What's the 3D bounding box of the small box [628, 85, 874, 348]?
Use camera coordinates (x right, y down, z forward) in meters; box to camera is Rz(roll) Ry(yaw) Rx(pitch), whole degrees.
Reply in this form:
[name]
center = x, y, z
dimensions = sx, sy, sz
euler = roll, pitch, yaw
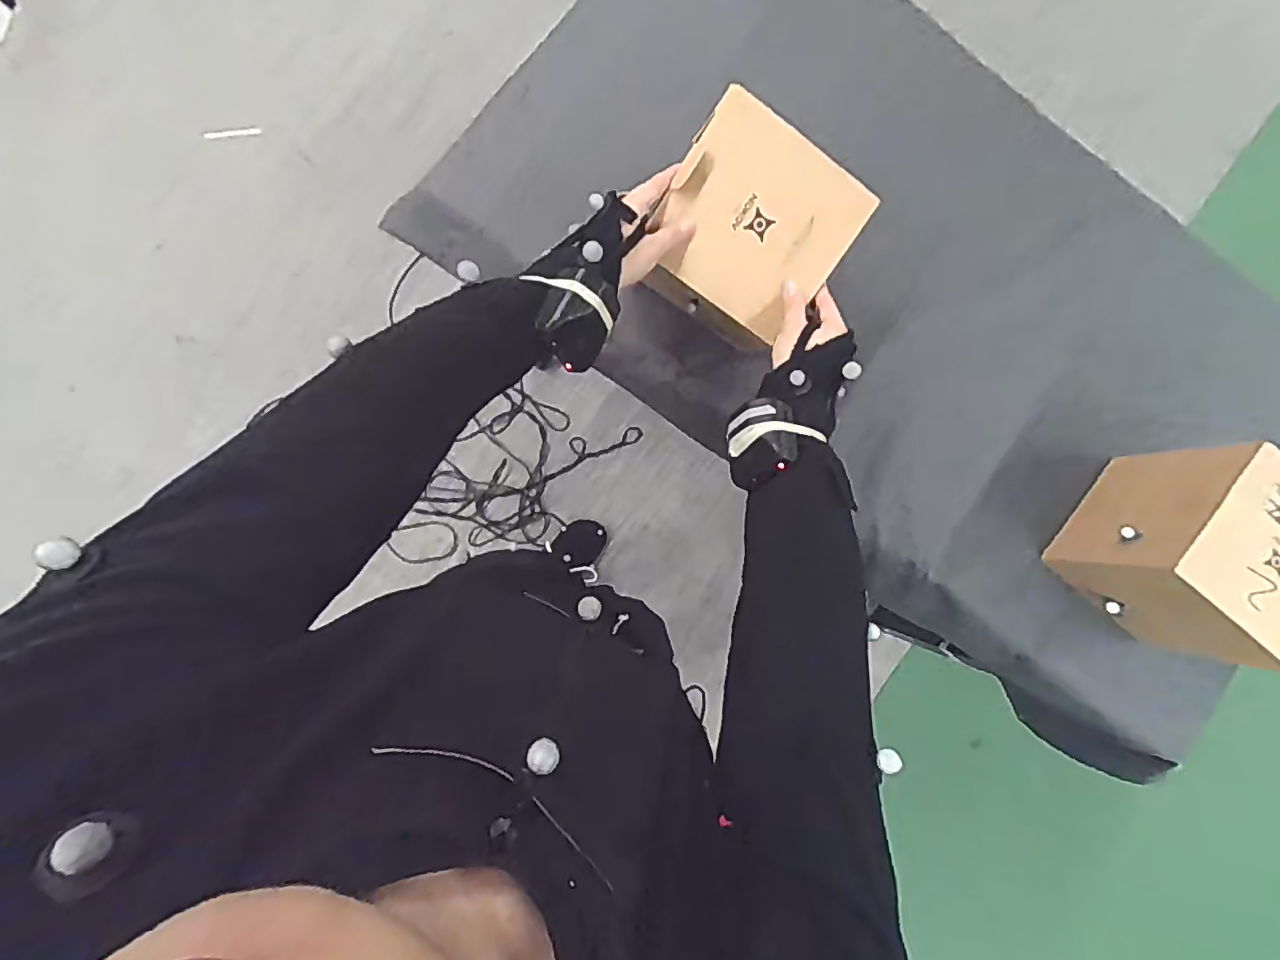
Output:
[small box]
center = 0.098, -0.254, 0.577
dimensions = 0.179, 0.176, 0.168
euler = 32, 100, -10
